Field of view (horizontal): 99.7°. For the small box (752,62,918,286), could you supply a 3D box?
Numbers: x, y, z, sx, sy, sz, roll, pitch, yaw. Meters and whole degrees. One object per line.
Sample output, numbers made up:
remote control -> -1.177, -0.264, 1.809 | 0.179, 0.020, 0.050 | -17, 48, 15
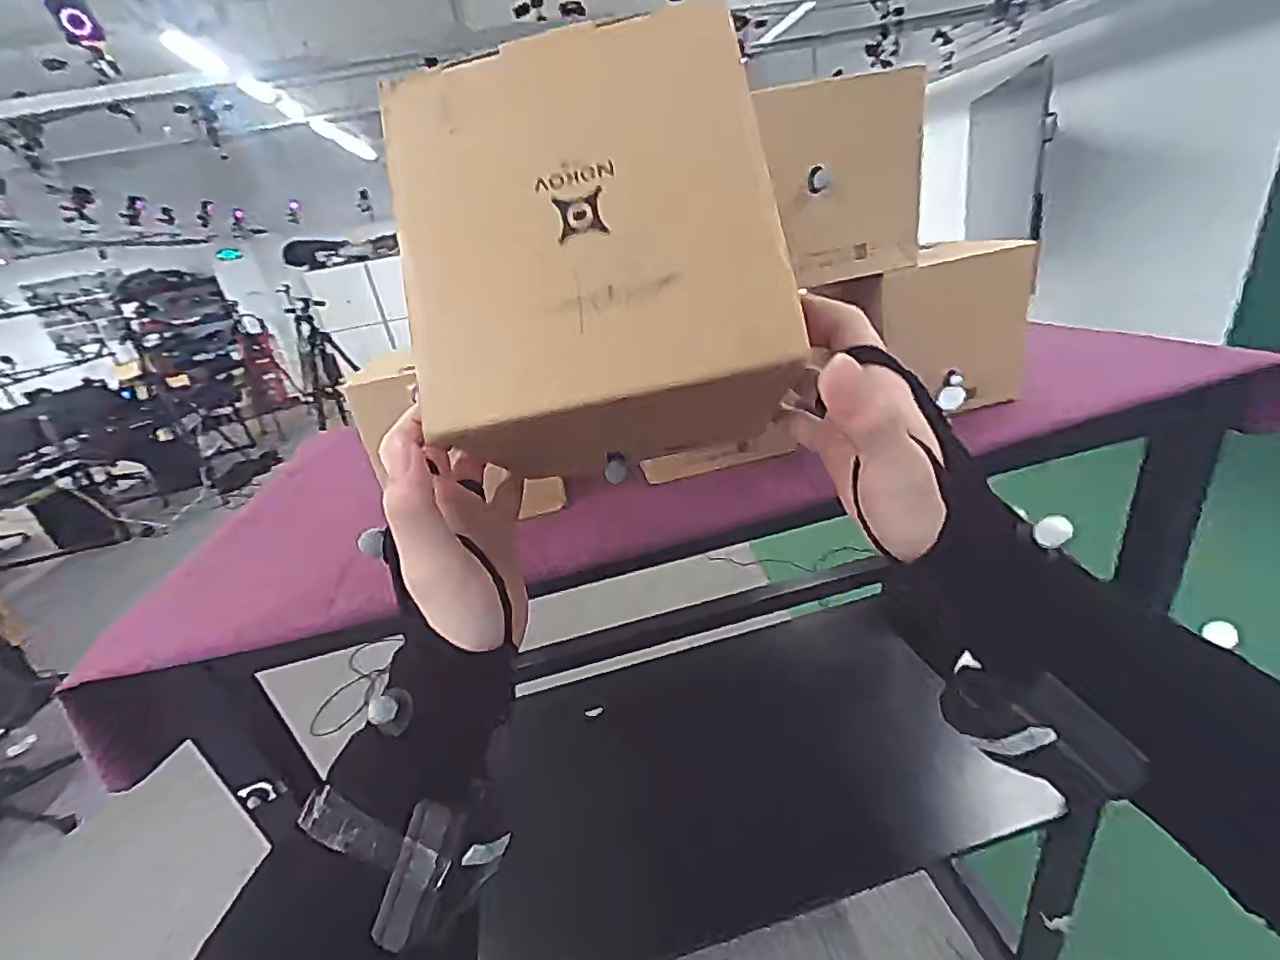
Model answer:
small box -> 0.163, -0.295, 0.564 | 0.168, 0.176, 0.179 | -13, 23, -5

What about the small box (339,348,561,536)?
small box -> -0.187, -0.061, 0.585 | 0.168, 0.176, 0.179 | -14, 23, -7

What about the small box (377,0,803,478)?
small box -> -0.020, -0.107, 0.309 | 0.168, 0.179, 0.176 | -10, -7, 5
